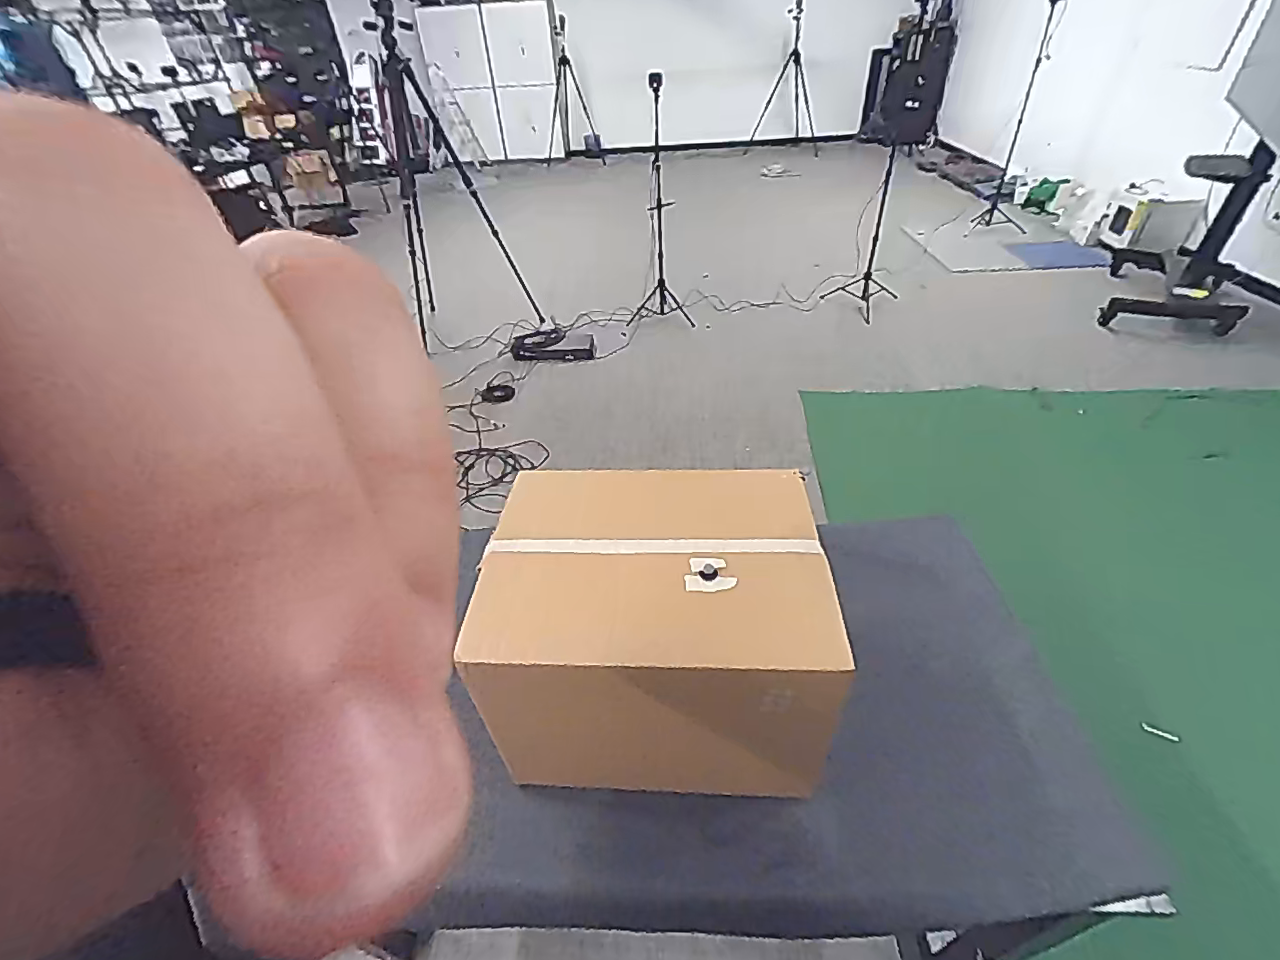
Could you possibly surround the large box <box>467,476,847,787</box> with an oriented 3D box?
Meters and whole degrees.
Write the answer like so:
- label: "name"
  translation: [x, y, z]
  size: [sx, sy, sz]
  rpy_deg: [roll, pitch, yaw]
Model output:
- label: "large box"
  translation: [0.024, 0.208, 0.763]
  size: [0.408, 0.320, 0.320]
  rpy_deg: [0, 40, 4]
